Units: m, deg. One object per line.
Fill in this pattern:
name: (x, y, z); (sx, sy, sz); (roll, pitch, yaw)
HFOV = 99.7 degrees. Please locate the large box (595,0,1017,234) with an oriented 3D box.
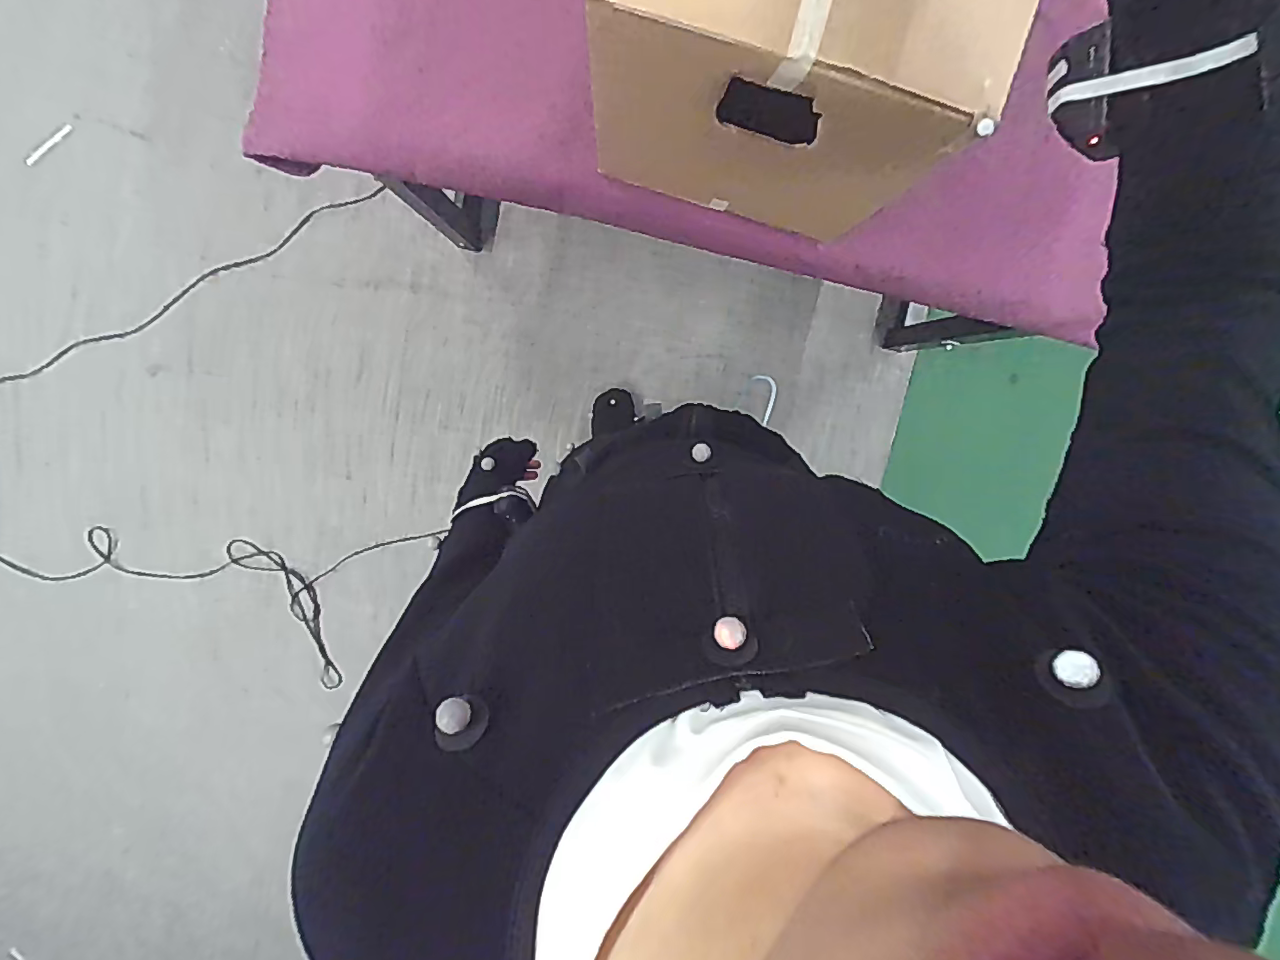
large box: (0.152, -0.519, 0.520); (0.320, 0.320, 0.408); (14, 99, -4)
